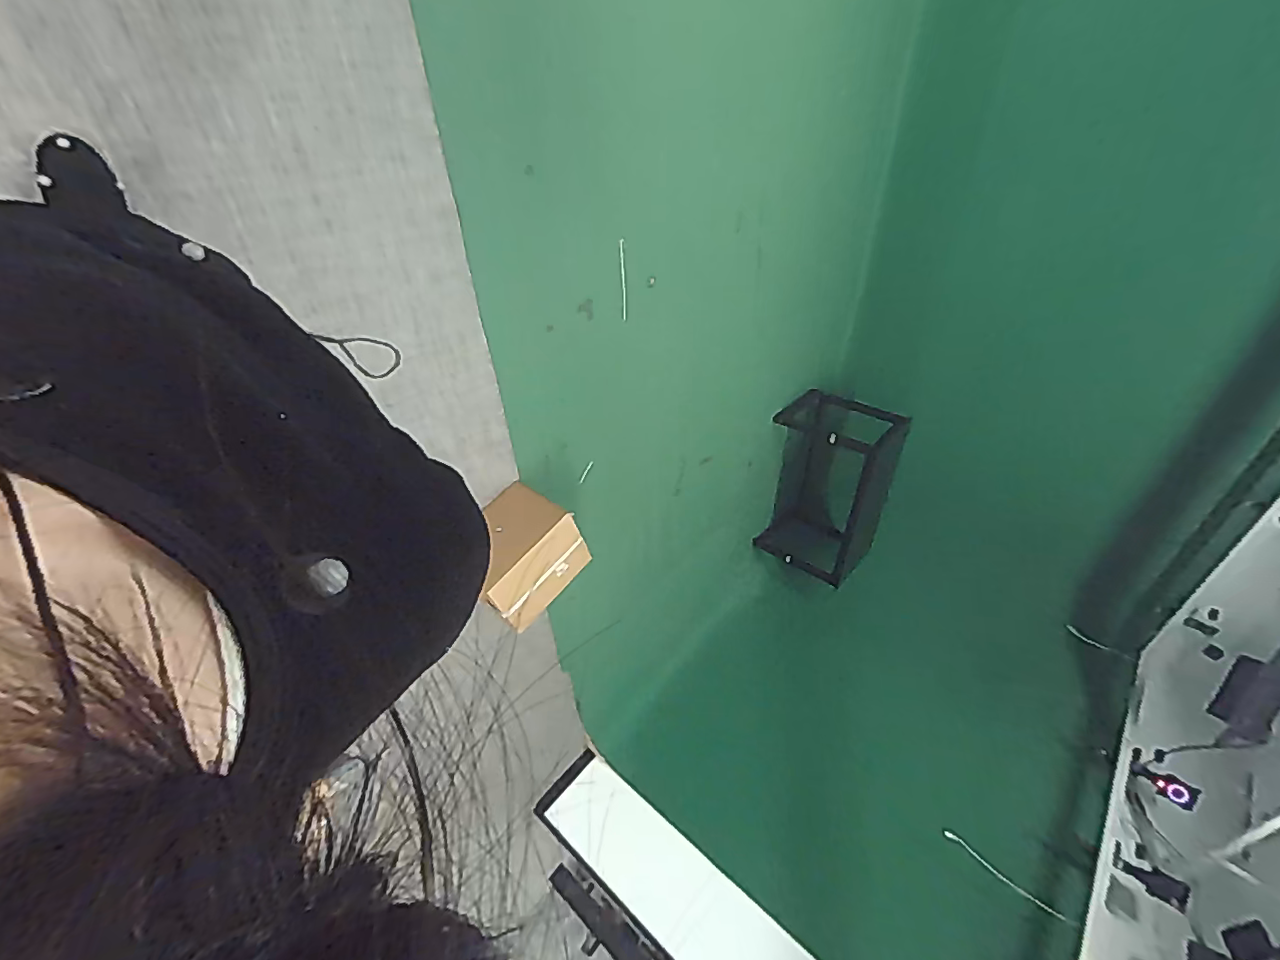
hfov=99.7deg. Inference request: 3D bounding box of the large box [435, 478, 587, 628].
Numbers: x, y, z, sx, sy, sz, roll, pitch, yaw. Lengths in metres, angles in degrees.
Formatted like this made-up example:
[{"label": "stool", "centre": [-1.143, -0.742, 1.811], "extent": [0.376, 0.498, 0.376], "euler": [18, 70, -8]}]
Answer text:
[{"label": "large box", "centre": [-0.479, 0.270, 2.054], "extent": [0.408, 0.320, 0.320], "euler": [-47, 145, -25]}]
